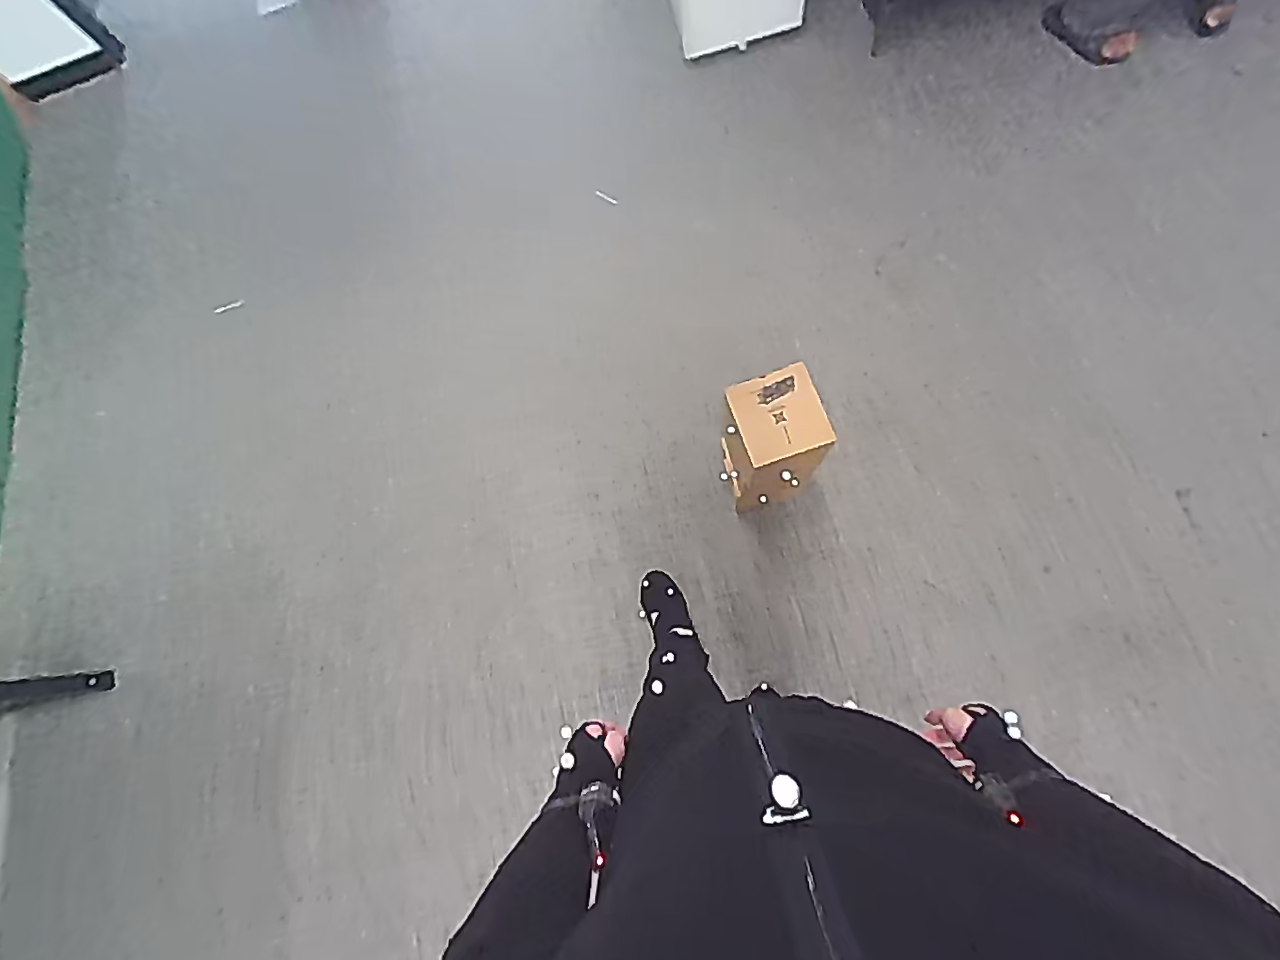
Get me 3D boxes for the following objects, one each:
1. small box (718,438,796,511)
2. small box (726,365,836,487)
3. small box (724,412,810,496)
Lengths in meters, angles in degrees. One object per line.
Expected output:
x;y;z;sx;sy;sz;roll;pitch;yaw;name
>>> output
0.314;-0.028;1.442;0.179;0.176;0.168;-15;72;3;small box
0.276;-0.103;1.104;0.168;0.176;0.179;-15;74;4;small box
0.298;-0.070;1.266;0.168;0.176;0.179;-14;73;2;small box
